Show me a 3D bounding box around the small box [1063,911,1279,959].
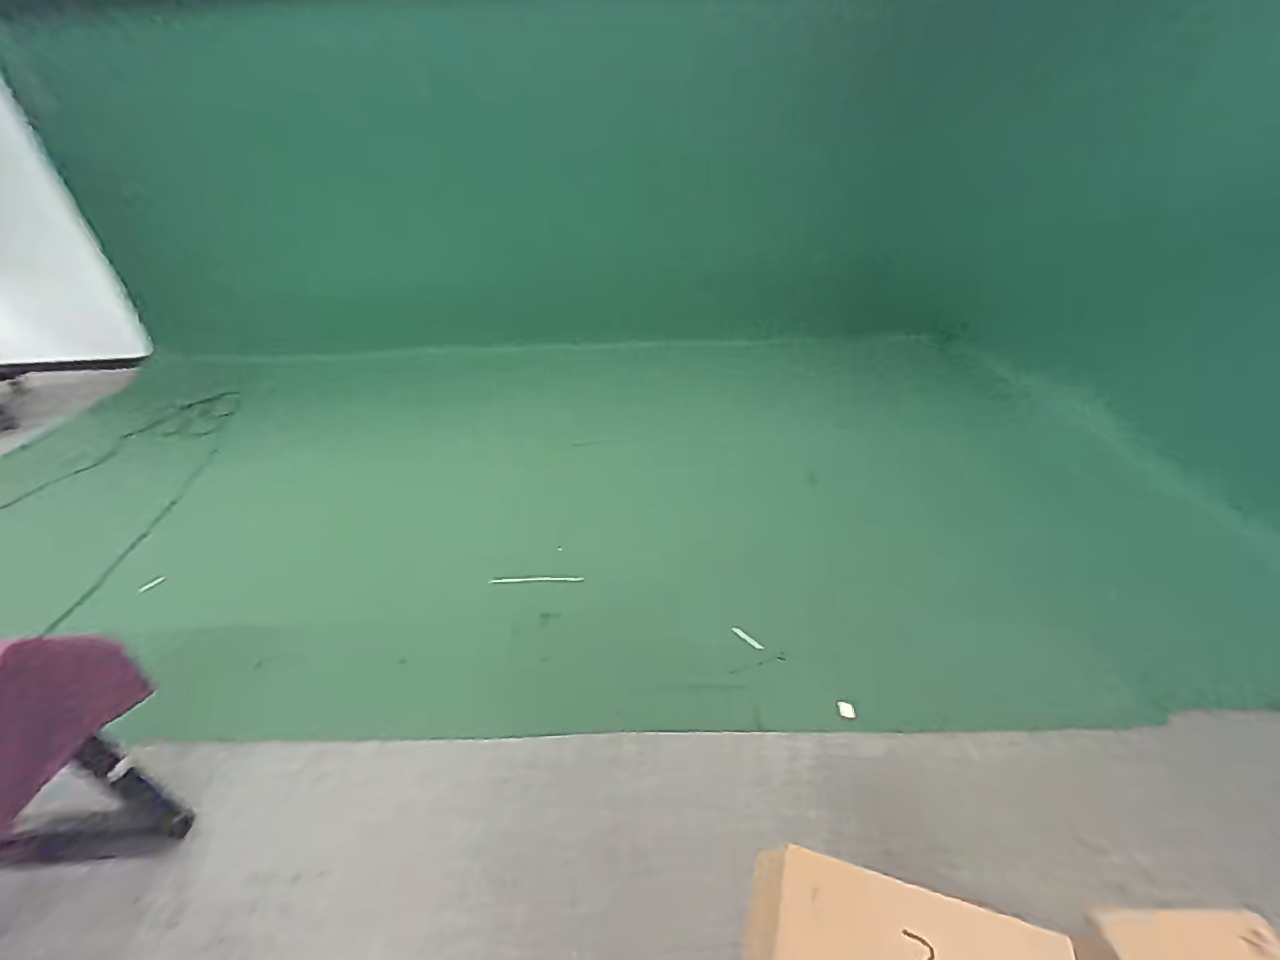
[{"bbox_3d":[0.594,0.585,0.570,0.179,0.176,0.168,-3,36,4],"label":"small box"}]
